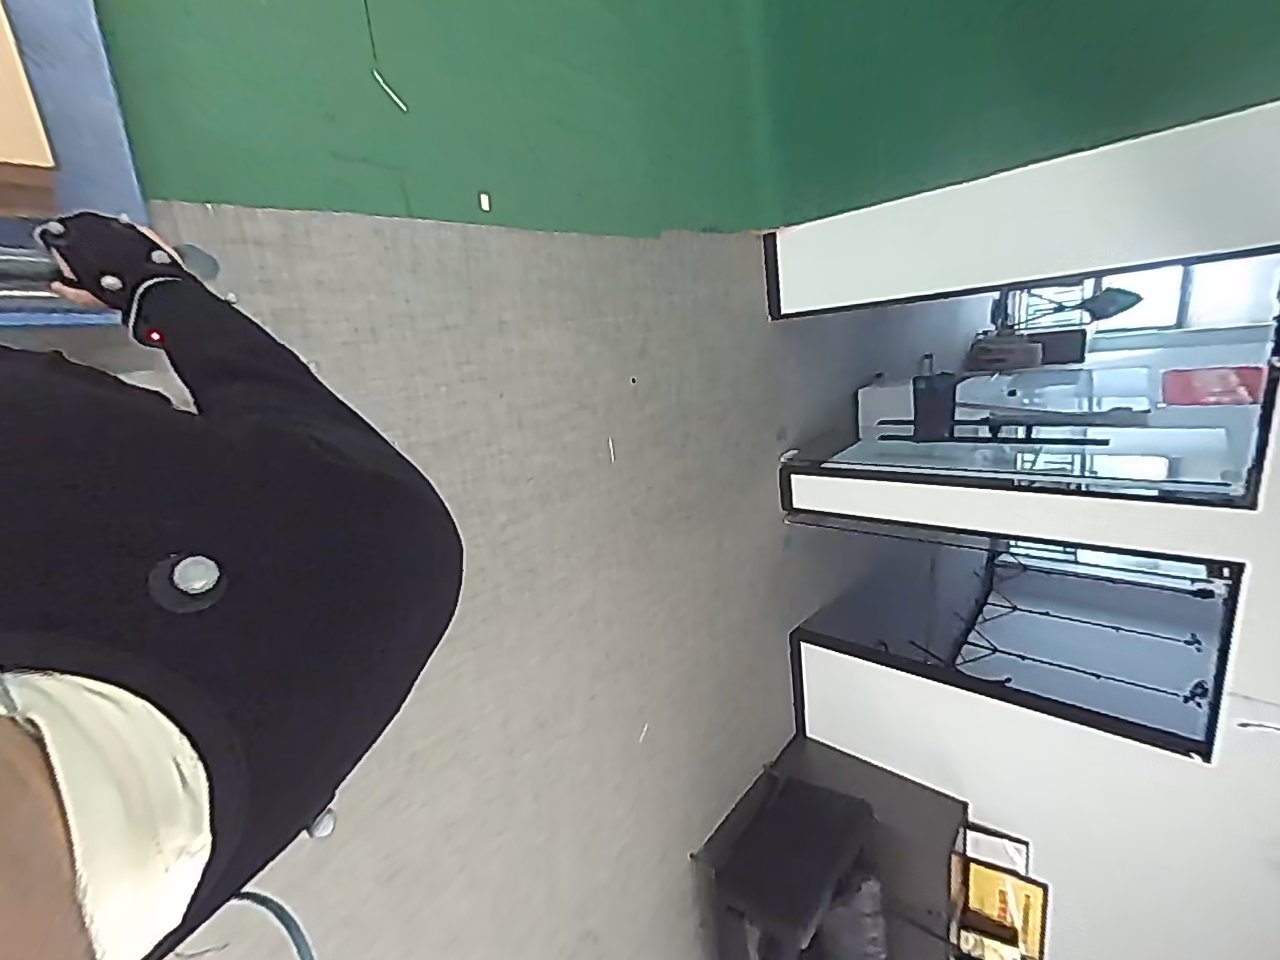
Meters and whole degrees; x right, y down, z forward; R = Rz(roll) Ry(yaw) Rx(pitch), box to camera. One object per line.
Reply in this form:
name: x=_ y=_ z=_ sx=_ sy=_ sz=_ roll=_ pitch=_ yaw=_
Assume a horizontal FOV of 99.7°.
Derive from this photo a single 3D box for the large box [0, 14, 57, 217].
large box: x=-1.102 y=-0.619 z=0.749 sx=0.320 sy=0.320 sz=0.408 roll=-21 pitch=110 yaw=-44
